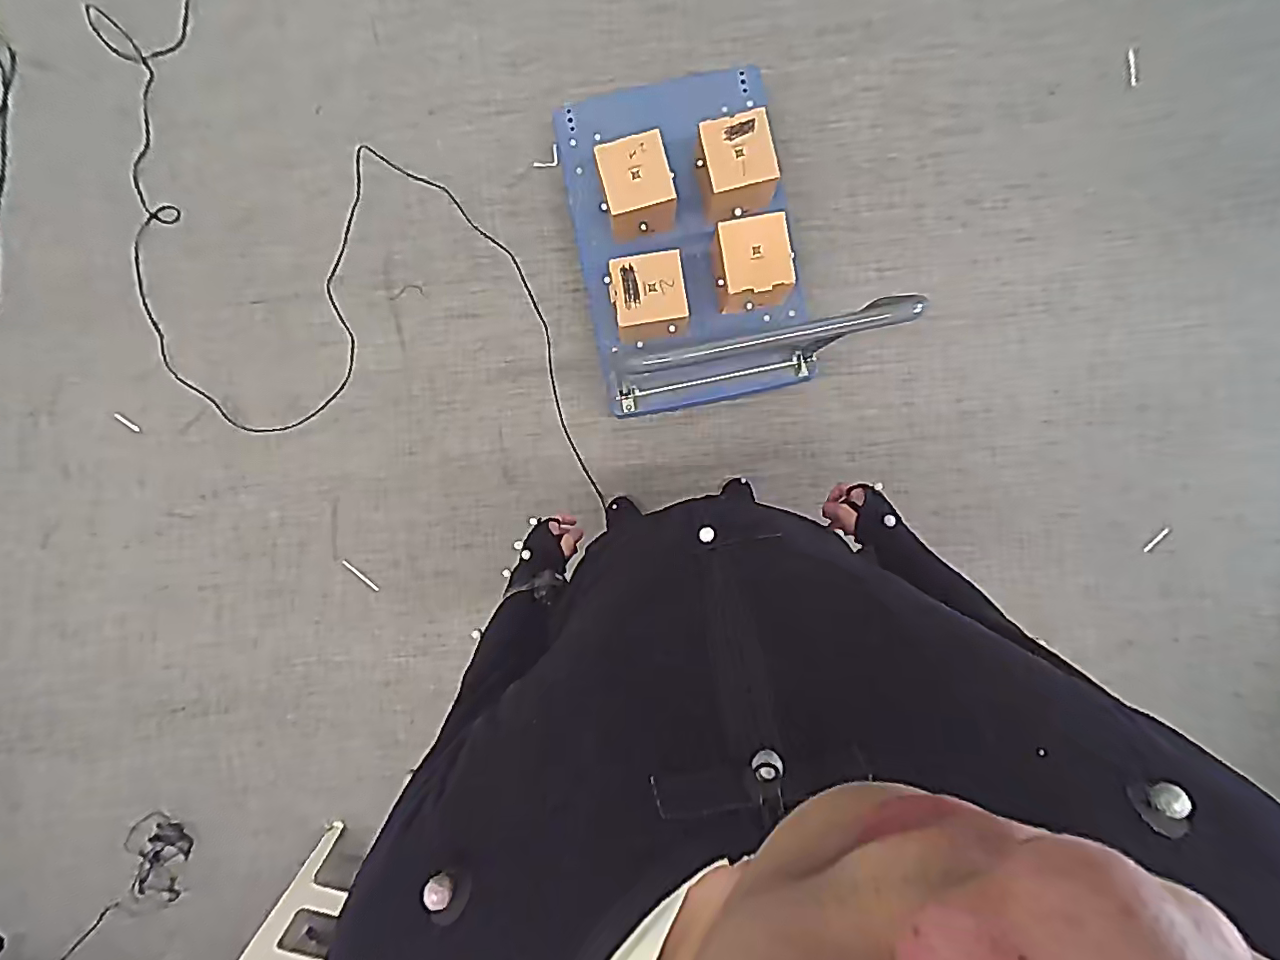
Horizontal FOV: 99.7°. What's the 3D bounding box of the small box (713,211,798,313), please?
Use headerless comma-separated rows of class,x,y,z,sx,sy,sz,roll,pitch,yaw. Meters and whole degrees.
small box,0.286,-0.547,1.375,0.168,0.176,0.179,-9,89,2

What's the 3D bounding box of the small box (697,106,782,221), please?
small box,0.245,-0.793,1.371,0.168,0.176,0.179,-13,91,2

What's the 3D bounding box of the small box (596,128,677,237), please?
small box,-0.005,-0.743,1.377,0.168,0.176,0.179,-15,90,1
